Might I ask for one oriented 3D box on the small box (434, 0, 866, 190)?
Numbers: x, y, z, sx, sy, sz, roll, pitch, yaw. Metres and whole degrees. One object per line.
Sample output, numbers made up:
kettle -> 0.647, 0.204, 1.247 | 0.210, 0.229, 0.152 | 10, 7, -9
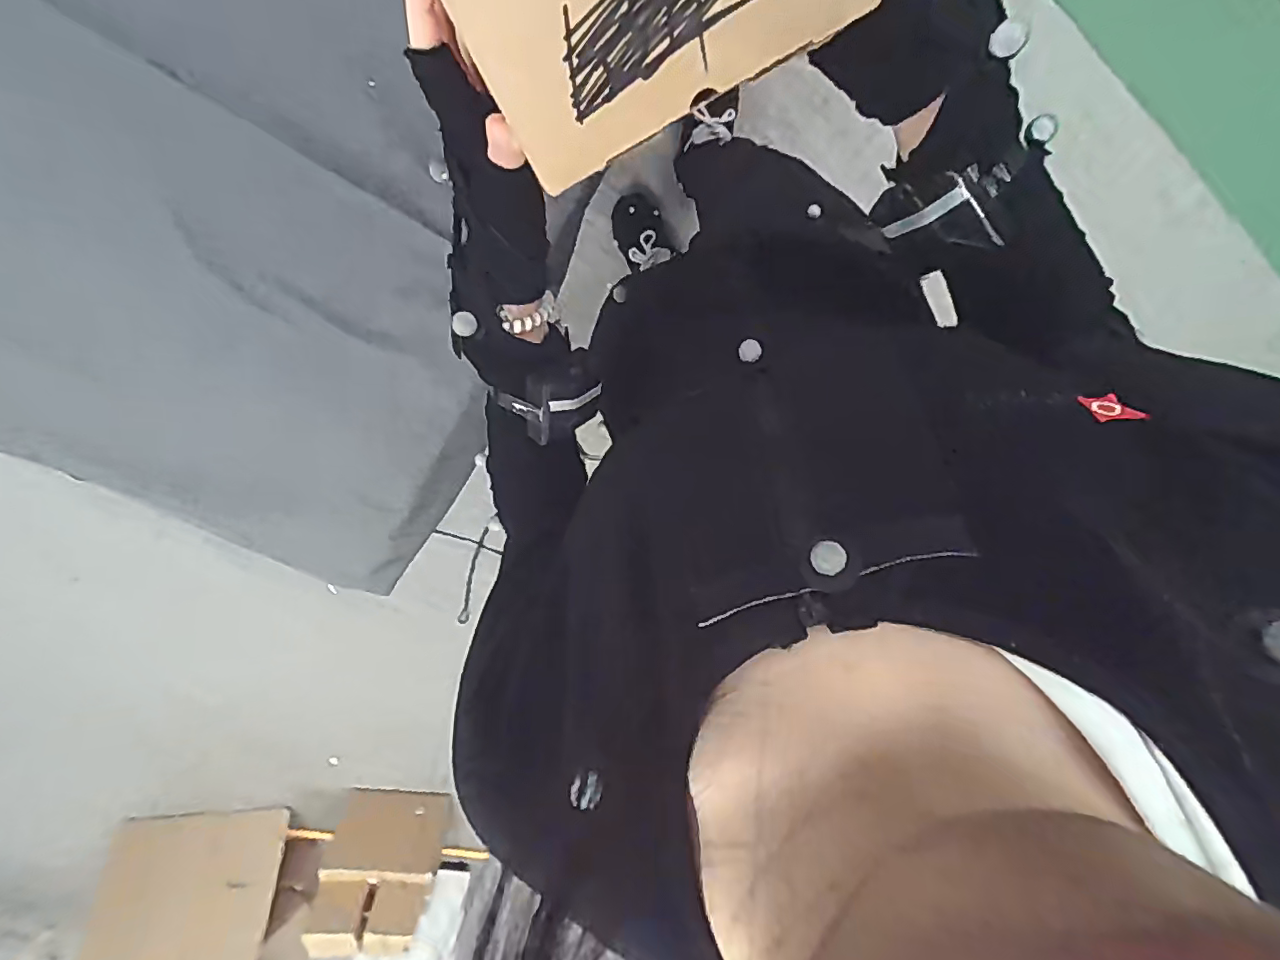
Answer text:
small box -> -0.024, -0.273, 0.230 | 0.168, 0.176, 0.179 | -26, 140, 9
